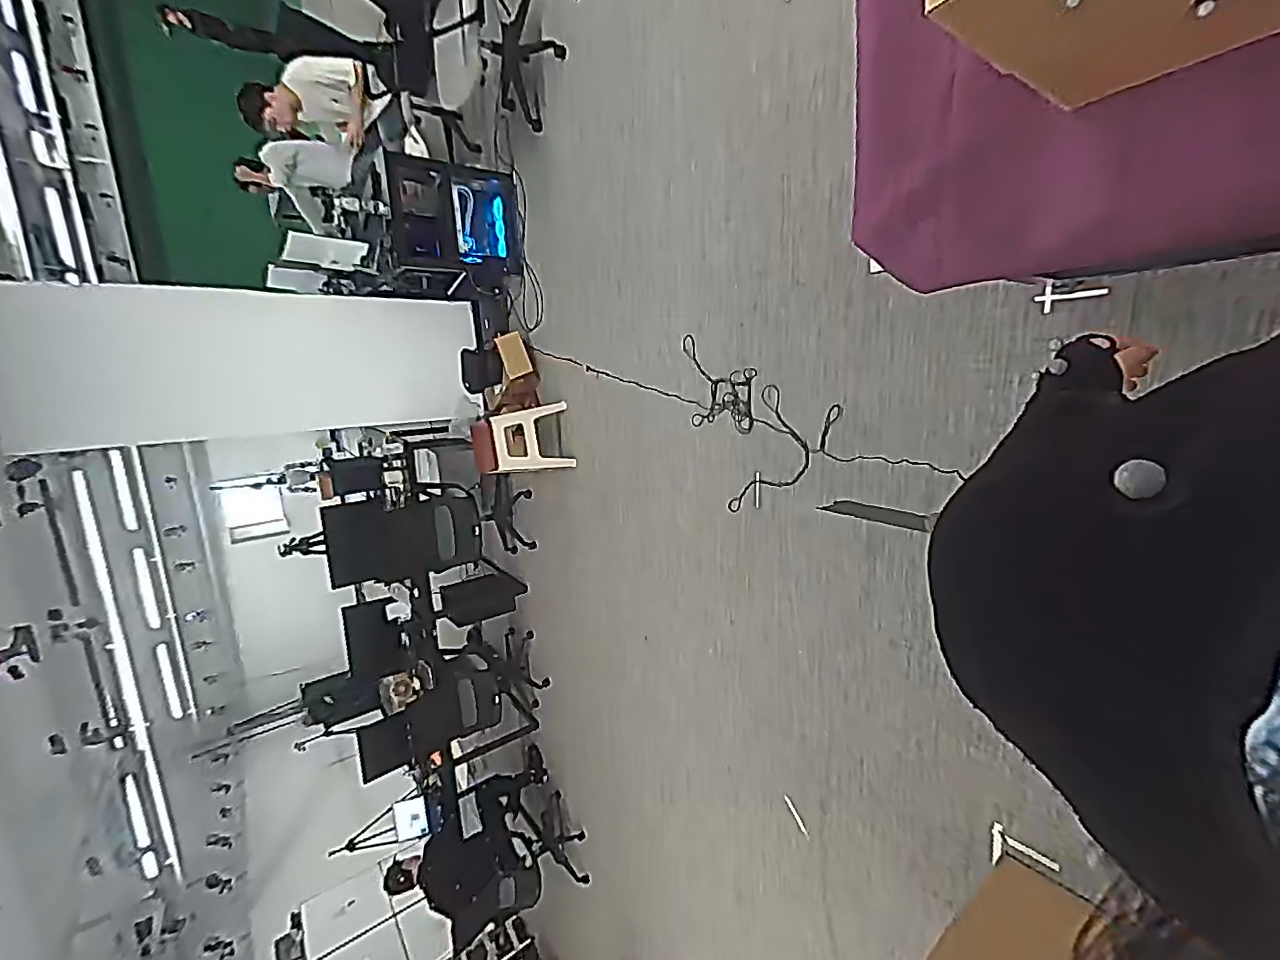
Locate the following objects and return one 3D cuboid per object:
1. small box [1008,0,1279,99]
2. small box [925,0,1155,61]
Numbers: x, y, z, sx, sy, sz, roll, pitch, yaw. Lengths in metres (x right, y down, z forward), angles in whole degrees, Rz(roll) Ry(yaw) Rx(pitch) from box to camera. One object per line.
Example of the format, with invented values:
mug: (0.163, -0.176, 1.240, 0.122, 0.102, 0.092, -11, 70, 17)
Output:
small box: (0.467, -0.488, 0.491, 0.179, 0.176, 0.168, 7, 105, 53)
small box: (0.336, -0.458, 0.395, 0.179, 0.176, 0.168, 7, 104, 53)
